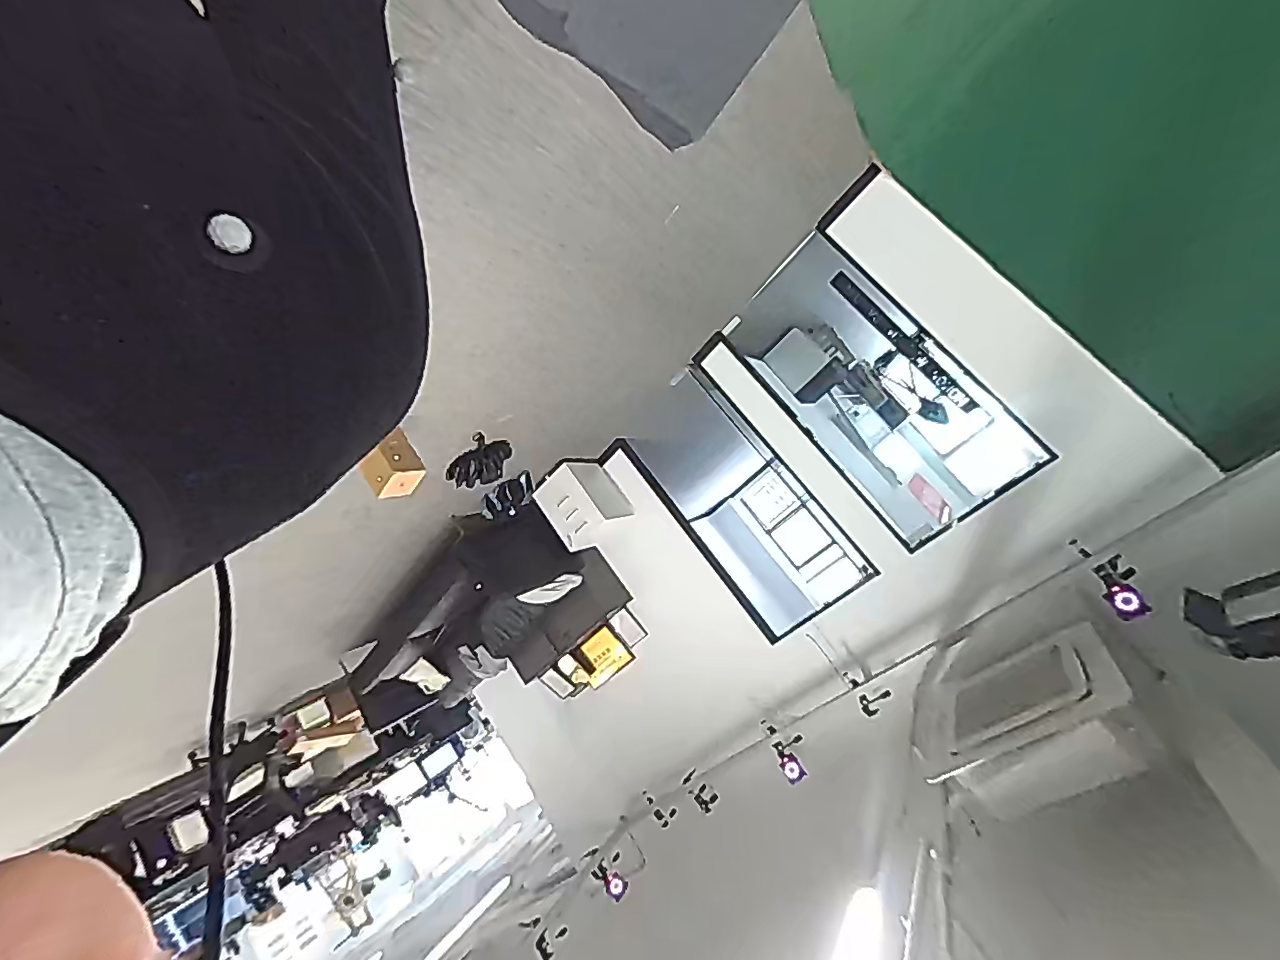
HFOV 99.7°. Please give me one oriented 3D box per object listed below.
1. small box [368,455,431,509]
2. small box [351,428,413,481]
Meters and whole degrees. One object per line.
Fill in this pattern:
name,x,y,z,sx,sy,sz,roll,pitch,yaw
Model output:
small box,-1.064,0.002,2.377,0.179,0.176,0.168,-45,163,27
small box,-1.160,-0.122,2.420,0.179,0.176,0.168,-47,162,28
